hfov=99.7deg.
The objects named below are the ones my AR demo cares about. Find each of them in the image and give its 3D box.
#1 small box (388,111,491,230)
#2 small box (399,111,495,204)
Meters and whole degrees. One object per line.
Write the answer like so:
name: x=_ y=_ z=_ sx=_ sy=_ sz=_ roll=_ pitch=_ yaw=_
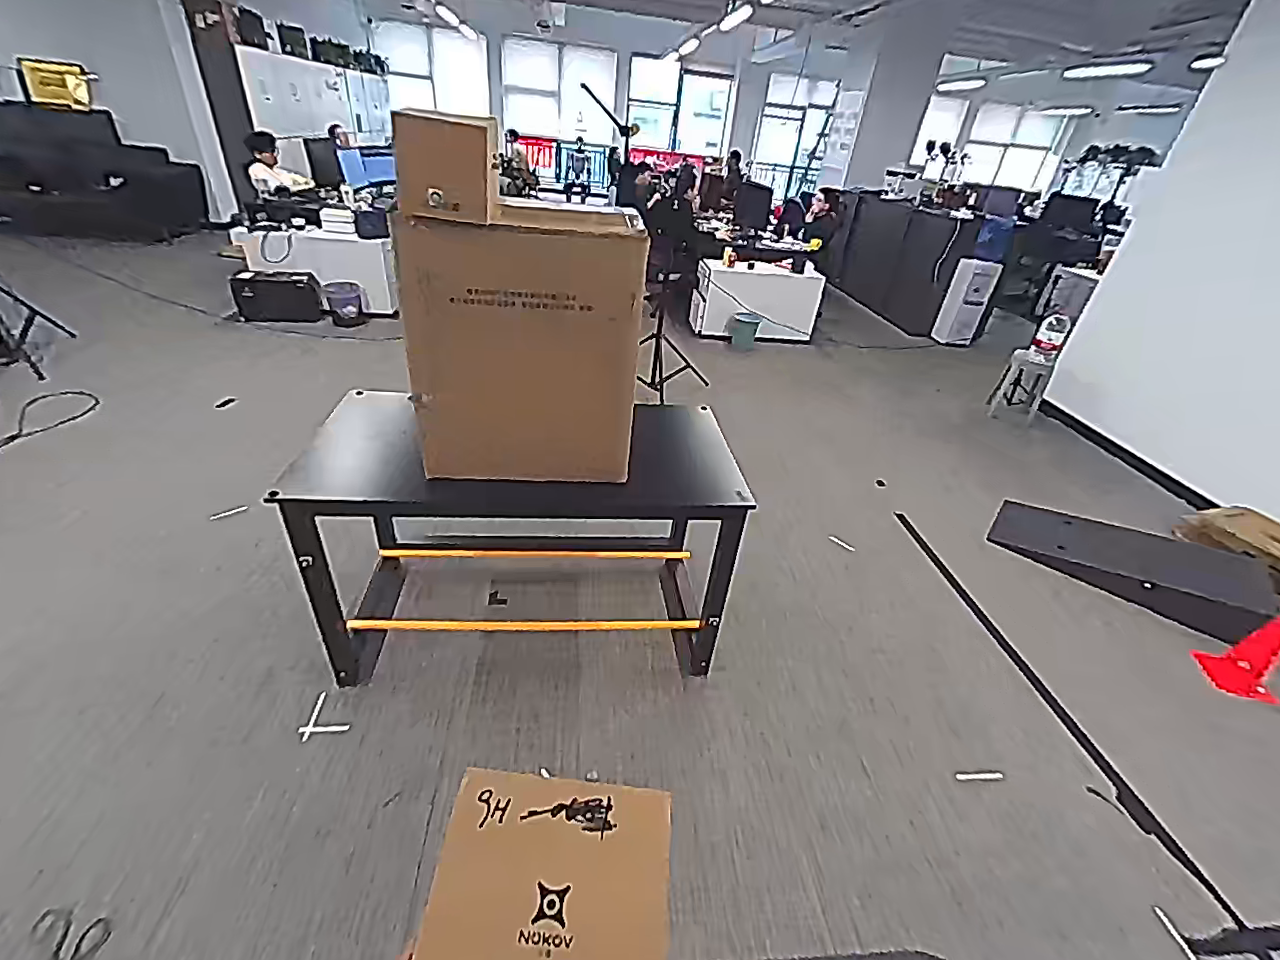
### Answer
small box: x=-0.383 y=-0.608 z=1.062 sx=0.168 sy=0.176 sz=0.179 roll=0 pitch=37 yaw=-13
small box: x=-0.424 y=-0.716 z=1.216 sx=0.168 sy=0.176 sz=0.179 roll=3 pitch=33 yaw=-6
